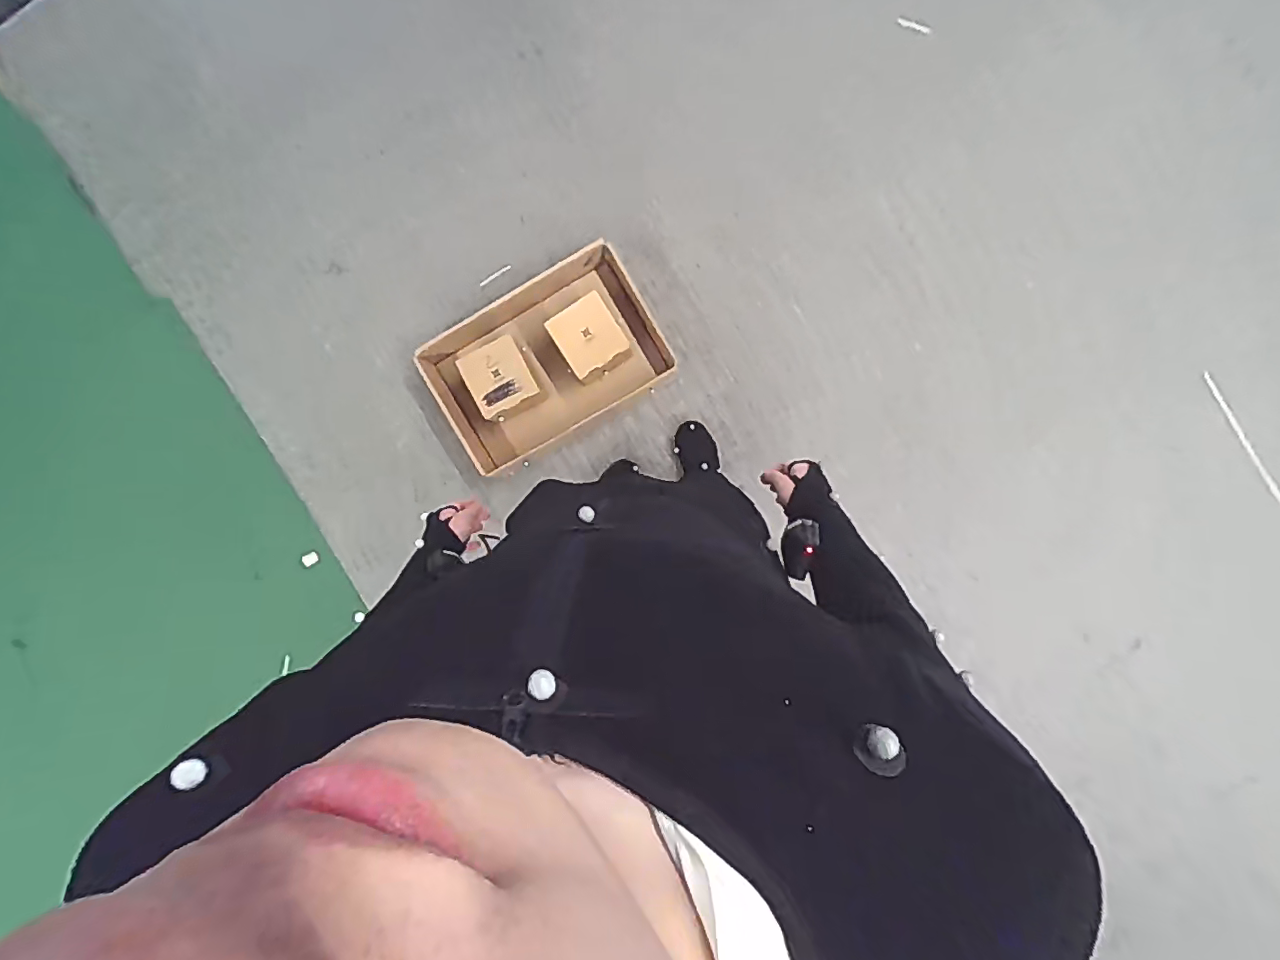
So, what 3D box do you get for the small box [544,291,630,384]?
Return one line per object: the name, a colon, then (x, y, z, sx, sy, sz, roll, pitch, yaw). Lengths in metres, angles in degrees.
small box: (-0.140, -0.383, 1.492, 0.168, 0.176, 0.179, -33, 93, 2)
